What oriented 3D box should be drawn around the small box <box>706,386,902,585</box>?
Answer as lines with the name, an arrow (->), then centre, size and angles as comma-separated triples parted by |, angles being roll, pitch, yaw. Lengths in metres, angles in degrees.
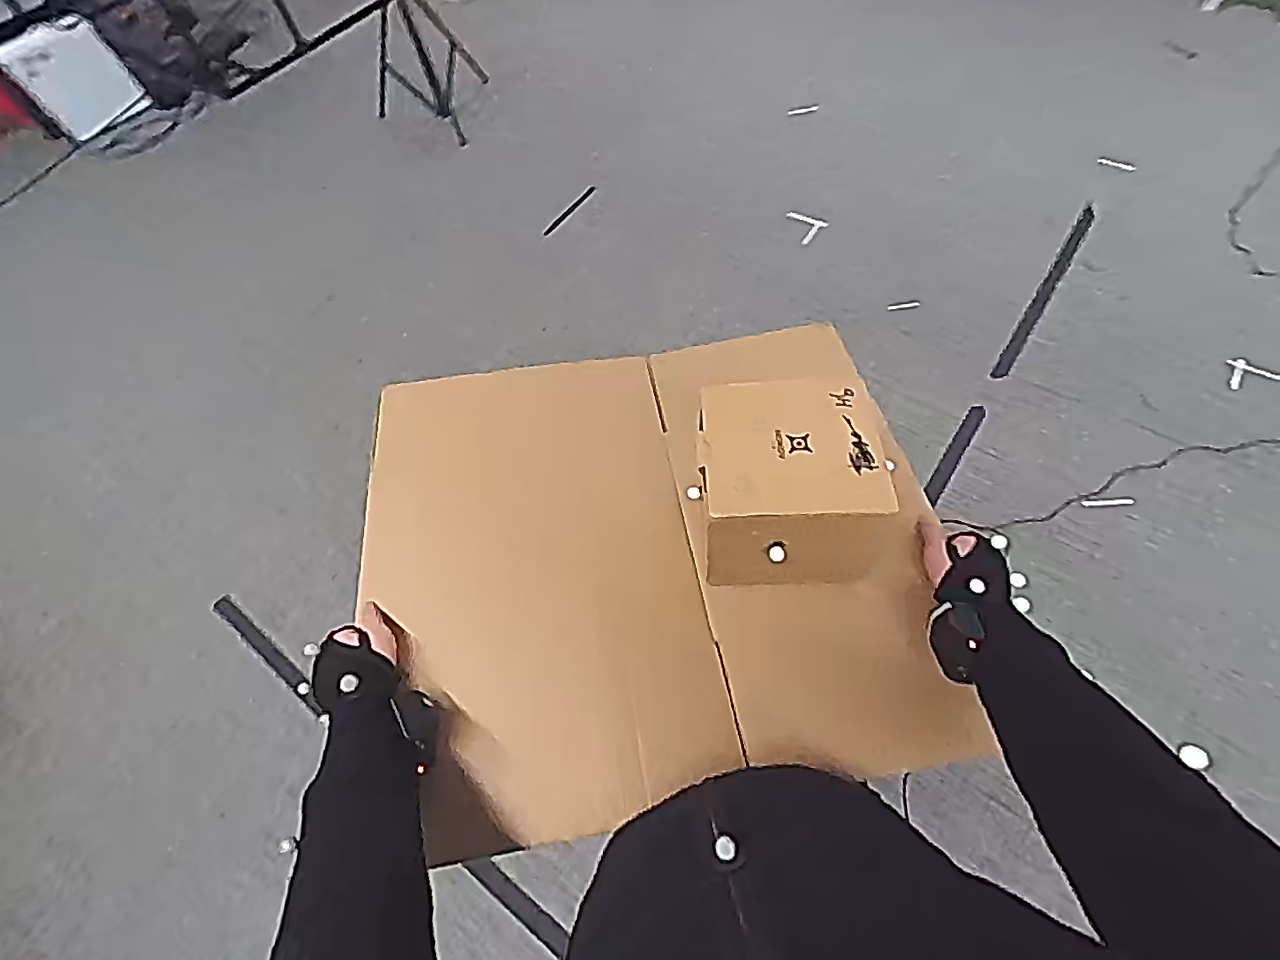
small box -> 0.168, 0.014, 0.613 | 0.179, 0.176, 0.168 | -2, 58, 6
